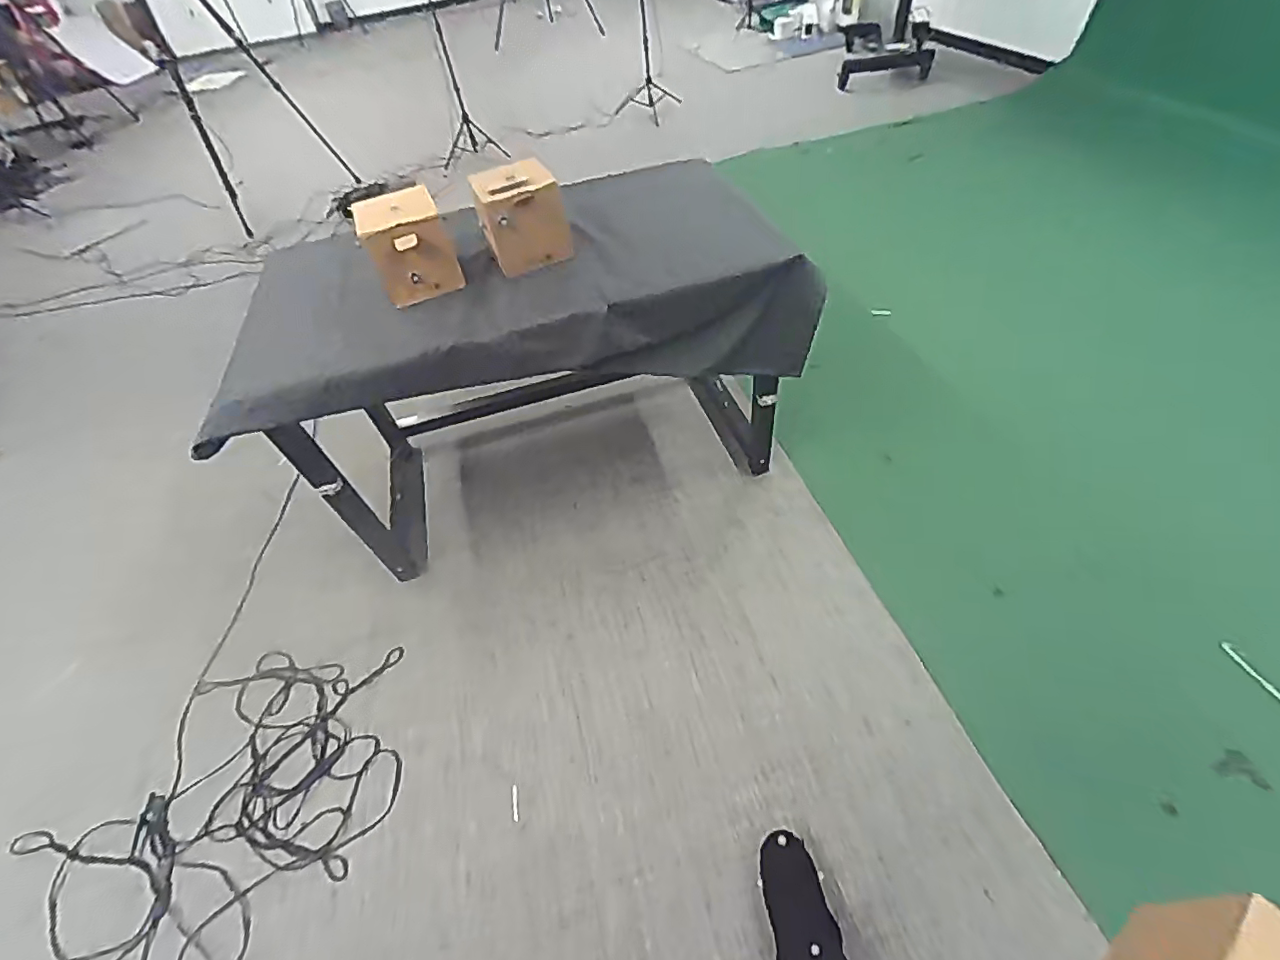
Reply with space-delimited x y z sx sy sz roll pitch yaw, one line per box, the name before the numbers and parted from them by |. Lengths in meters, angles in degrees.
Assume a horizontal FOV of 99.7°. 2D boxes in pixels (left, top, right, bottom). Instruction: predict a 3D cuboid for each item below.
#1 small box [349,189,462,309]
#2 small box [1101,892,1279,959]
small box | -0.510 -0.504 1.186 0.168 0.176 0.179 -23 51 -11
small box | 0.536 0.517 0.476 0.179 0.176 0.168 -30 54 -26
